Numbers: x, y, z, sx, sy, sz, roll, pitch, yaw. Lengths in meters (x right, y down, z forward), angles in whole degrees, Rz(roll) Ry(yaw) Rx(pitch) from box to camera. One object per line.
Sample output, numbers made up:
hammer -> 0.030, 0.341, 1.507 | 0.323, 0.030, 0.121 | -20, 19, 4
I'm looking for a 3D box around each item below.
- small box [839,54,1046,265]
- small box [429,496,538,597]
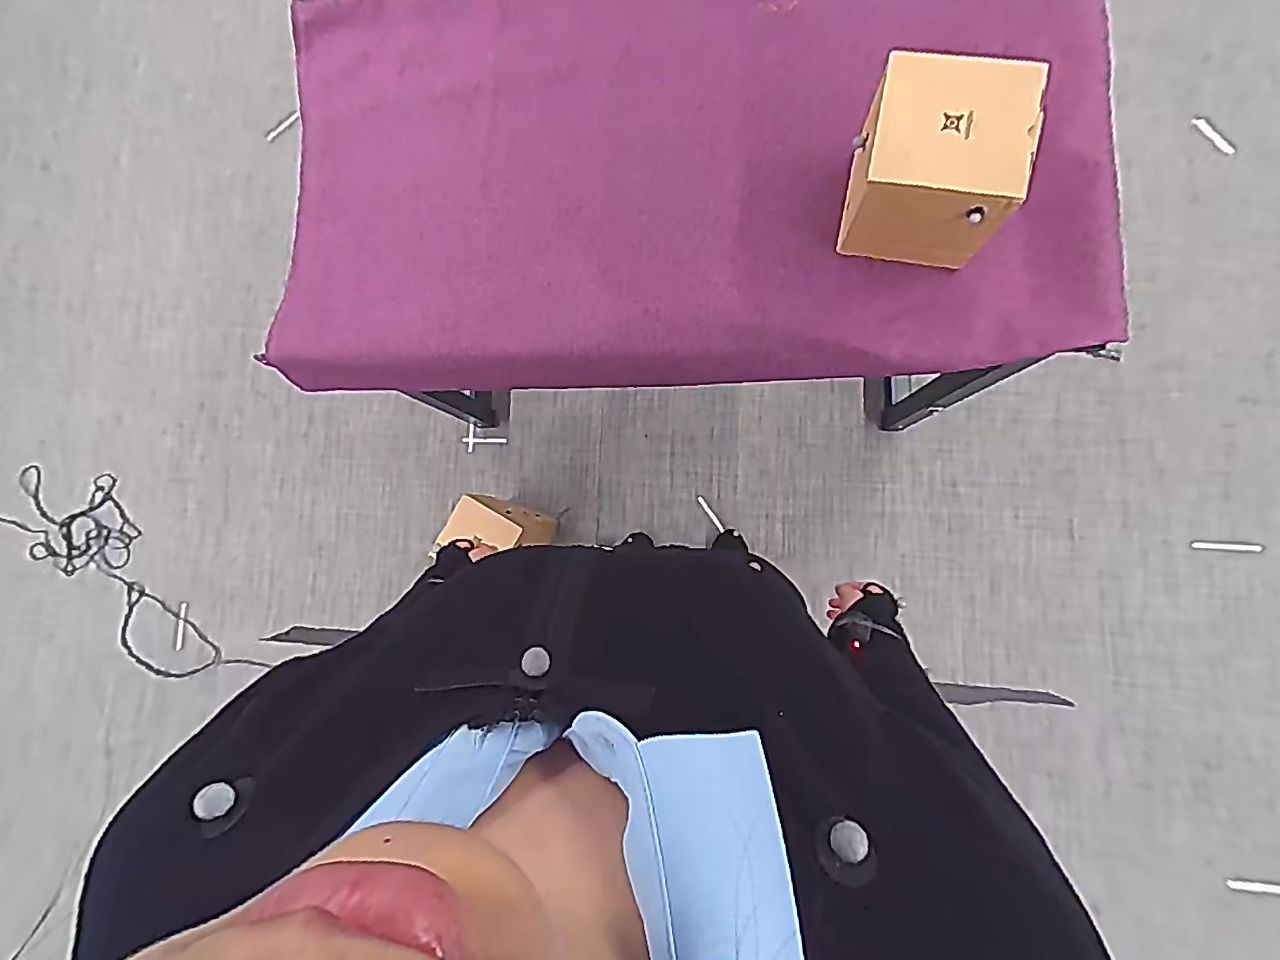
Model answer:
small box -> 0.372, -0.400, 0.699 | 0.179, 0.176, 0.168 | 11, 86, 8
small box -> -0.363, 0.154, 1.299 | 0.168, 0.176, 0.179 | 30, 90, 8
